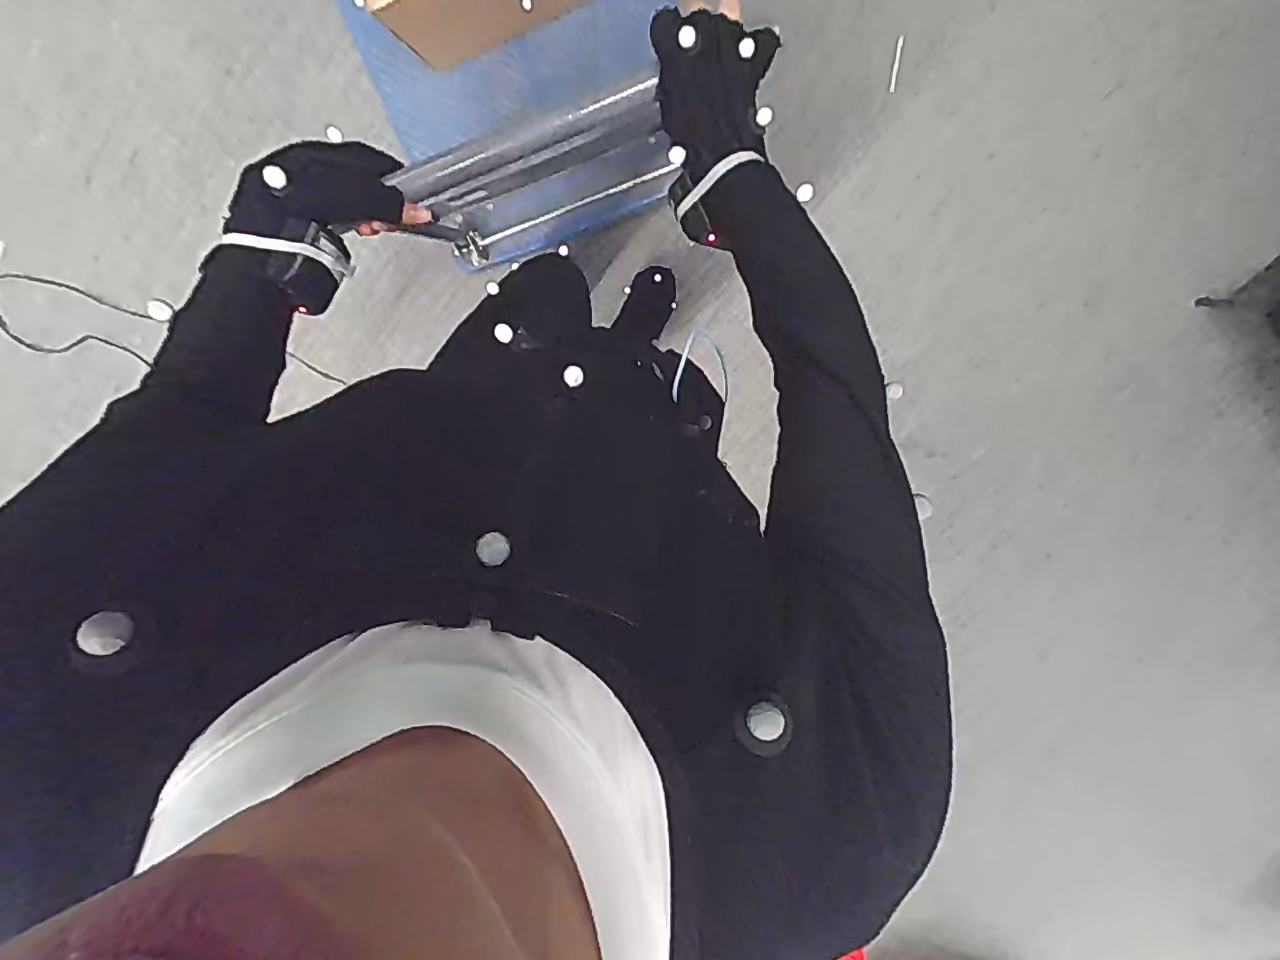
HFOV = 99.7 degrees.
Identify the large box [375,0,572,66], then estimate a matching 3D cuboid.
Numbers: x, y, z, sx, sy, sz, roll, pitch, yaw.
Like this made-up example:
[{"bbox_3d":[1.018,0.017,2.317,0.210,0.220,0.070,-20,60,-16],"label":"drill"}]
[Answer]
[{"bbox_3d":[-0.235,-0.905,0.792,0.408,0.320,0.320,-20,112,8],"label":"large box"}]
